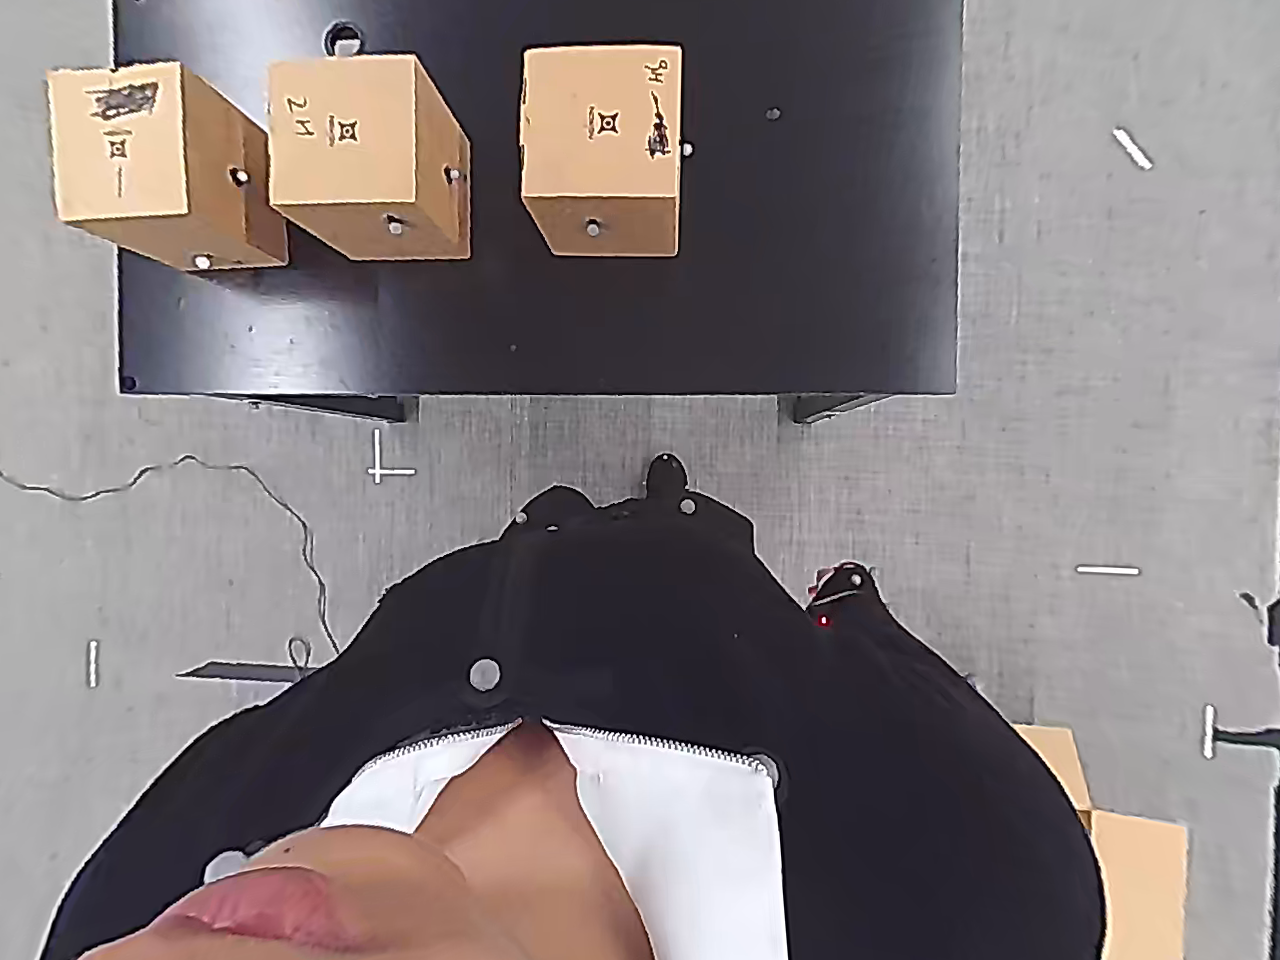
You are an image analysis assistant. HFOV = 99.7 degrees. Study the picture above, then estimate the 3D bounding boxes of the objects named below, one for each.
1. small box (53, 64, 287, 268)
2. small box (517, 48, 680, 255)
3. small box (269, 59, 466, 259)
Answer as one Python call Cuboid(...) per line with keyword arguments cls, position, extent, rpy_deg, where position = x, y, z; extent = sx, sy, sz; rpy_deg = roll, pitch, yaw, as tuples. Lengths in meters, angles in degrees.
Cuboid(cls="small box", position=(-0.601, -0.398, 0.713), extent=(0.168, 0.176, 0.179), rpy_deg=(-1, 92, 3))
Cuboid(cls="small box", position=(-0.042, -0.396, 0.680), extent=(0.179, 0.176, 0.168), rpy_deg=(2, 92, 4))
Cuboid(cls="small box", position=(-0.334, -0.398, 0.696), extent=(0.179, 0.176, 0.168), rpy_deg=(0, 91, 3))
